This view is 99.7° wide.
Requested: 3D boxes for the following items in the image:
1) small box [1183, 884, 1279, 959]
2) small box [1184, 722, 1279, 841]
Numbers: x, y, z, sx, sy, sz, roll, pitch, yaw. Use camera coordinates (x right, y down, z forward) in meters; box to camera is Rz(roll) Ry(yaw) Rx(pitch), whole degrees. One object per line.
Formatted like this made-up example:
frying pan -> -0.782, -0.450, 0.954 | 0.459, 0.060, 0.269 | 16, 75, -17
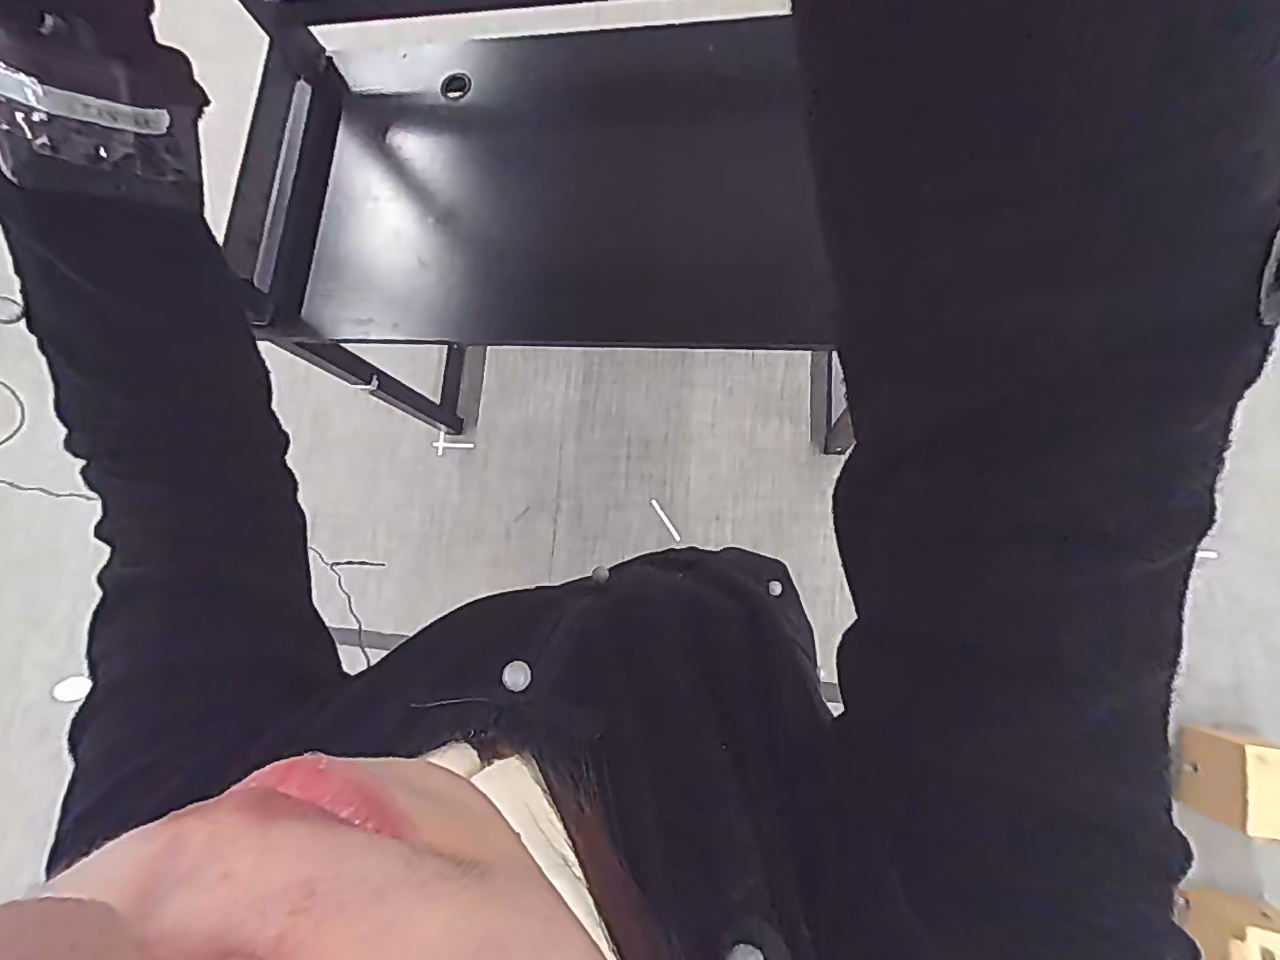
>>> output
small box -> 1.262, 0.964, 1.095 | 0.179, 0.176, 0.168 | 8, 81, 9
small box -> 1.313, 0.640, 1.145 | 0.168, 0.176, 0.179 | 8, 82, 10
